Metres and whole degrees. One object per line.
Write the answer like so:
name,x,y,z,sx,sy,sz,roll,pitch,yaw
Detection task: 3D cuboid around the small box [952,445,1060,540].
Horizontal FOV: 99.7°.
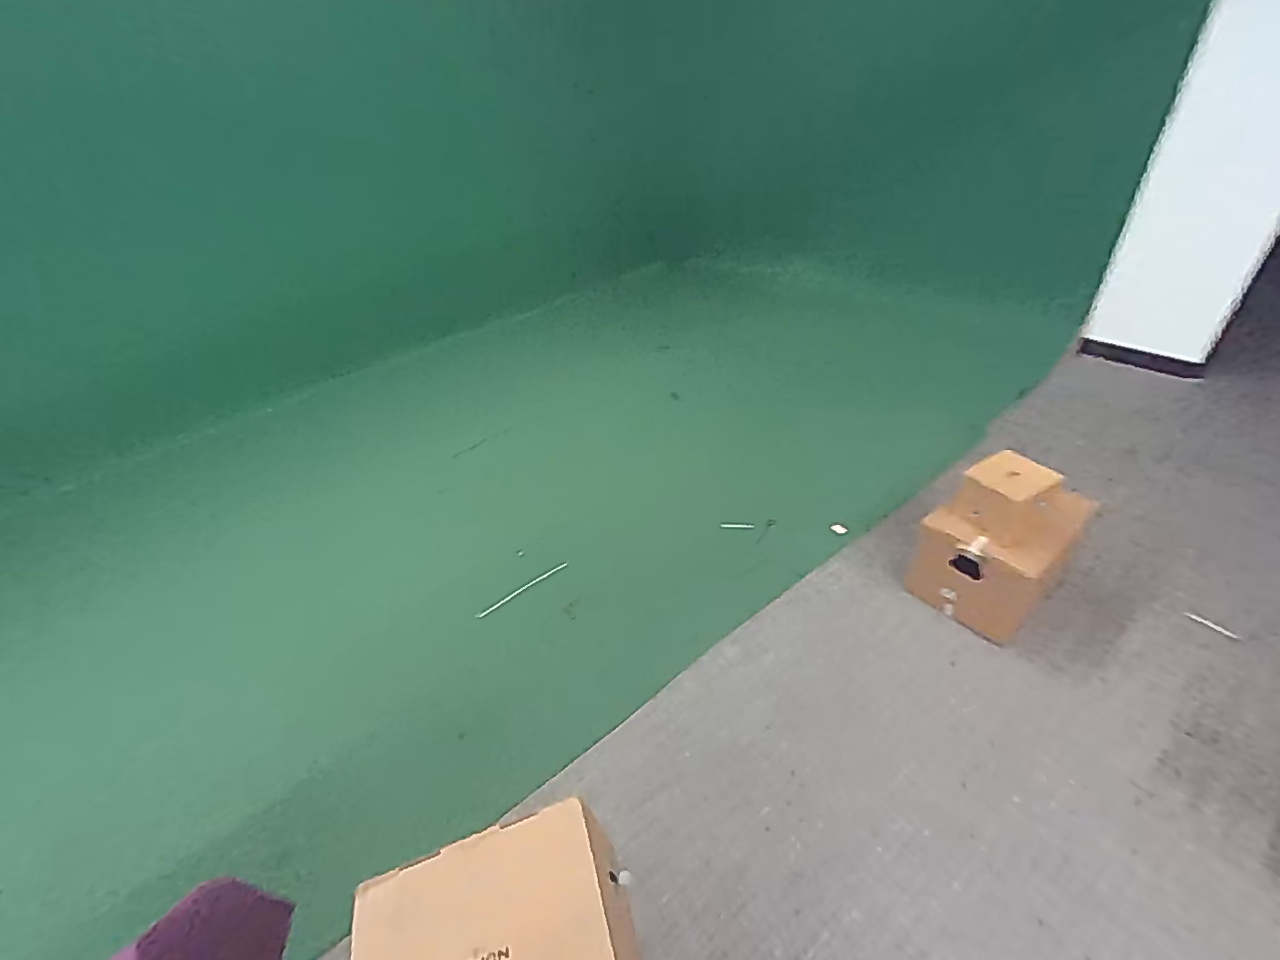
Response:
small box,1.012,0.034,1.512,0.179,0.176,0.168,-24,39,-16

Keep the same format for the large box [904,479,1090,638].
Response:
large box,1.090,0.202,1.681,0.408,0.320,0.320,-31,43,-25
